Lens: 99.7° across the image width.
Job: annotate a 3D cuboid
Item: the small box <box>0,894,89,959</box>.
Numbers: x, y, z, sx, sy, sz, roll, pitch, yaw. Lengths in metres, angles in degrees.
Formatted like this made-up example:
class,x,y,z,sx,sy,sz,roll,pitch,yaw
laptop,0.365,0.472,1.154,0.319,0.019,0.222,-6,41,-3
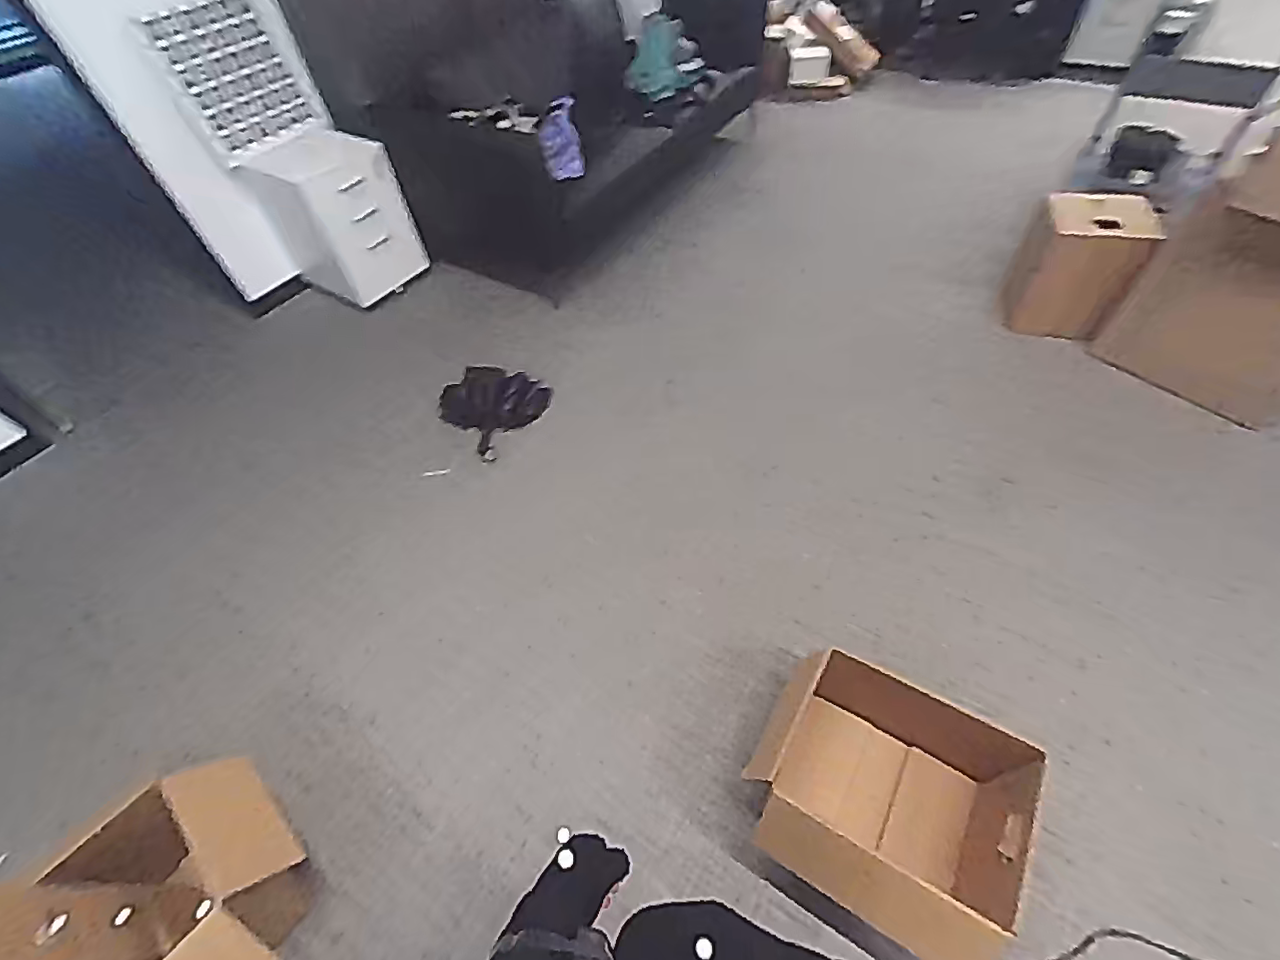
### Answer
class,x,y,z,sx,sy,sz,roll,pitch,yaw
small box,-0.993,0.756,0.794,0.168,0.176,0.179,32,63,24
